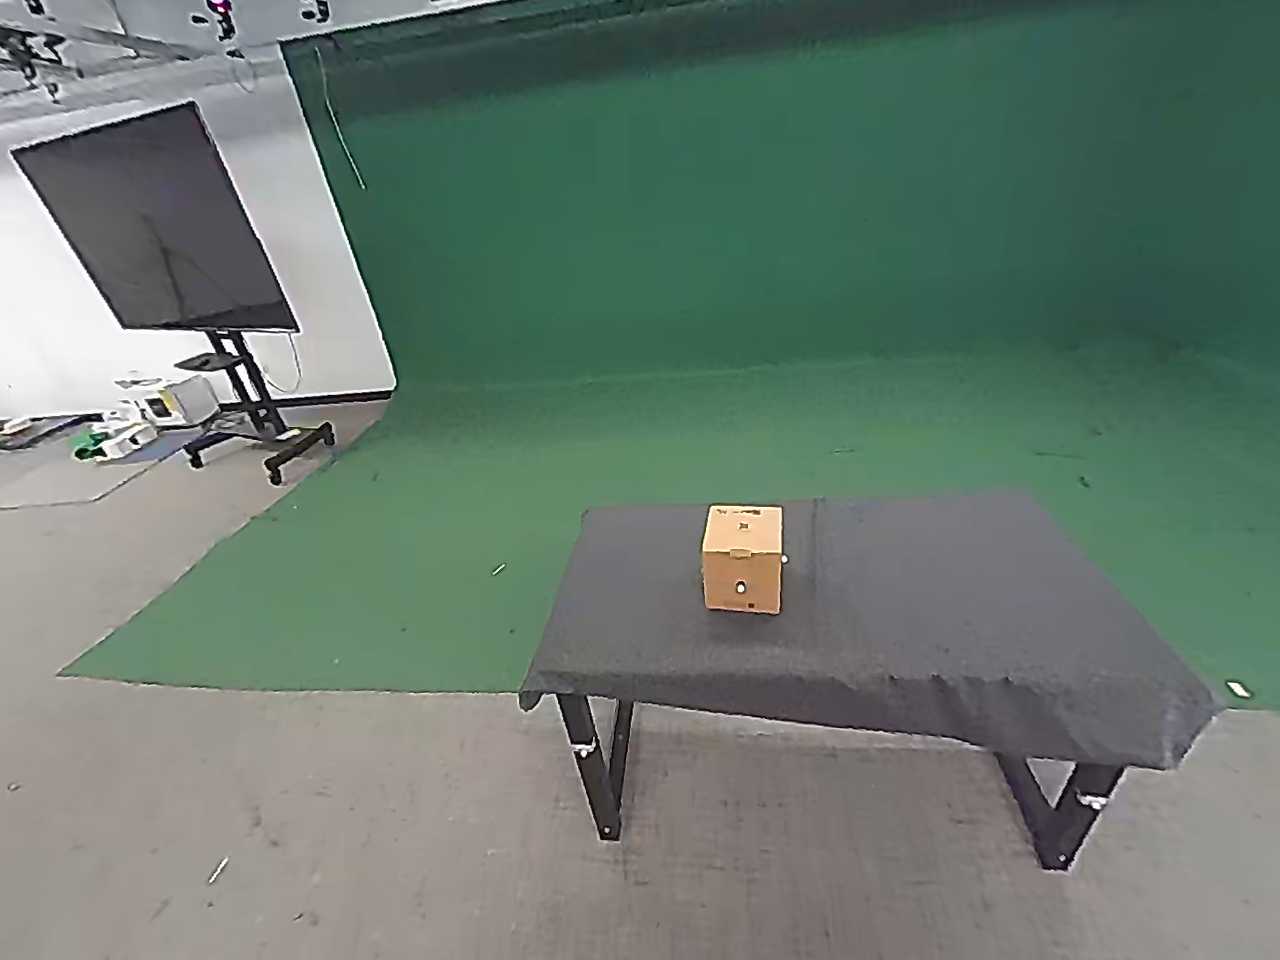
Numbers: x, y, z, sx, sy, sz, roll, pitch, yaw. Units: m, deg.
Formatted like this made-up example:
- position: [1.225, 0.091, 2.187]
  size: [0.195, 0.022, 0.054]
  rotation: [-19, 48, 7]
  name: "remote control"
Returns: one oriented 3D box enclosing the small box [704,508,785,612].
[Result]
- position: [0.242, 0.183, 1.234]
  size: [0.168, 0.176, 0.179]
  rotation: [-2, 30, 13]
  name: "small box"
